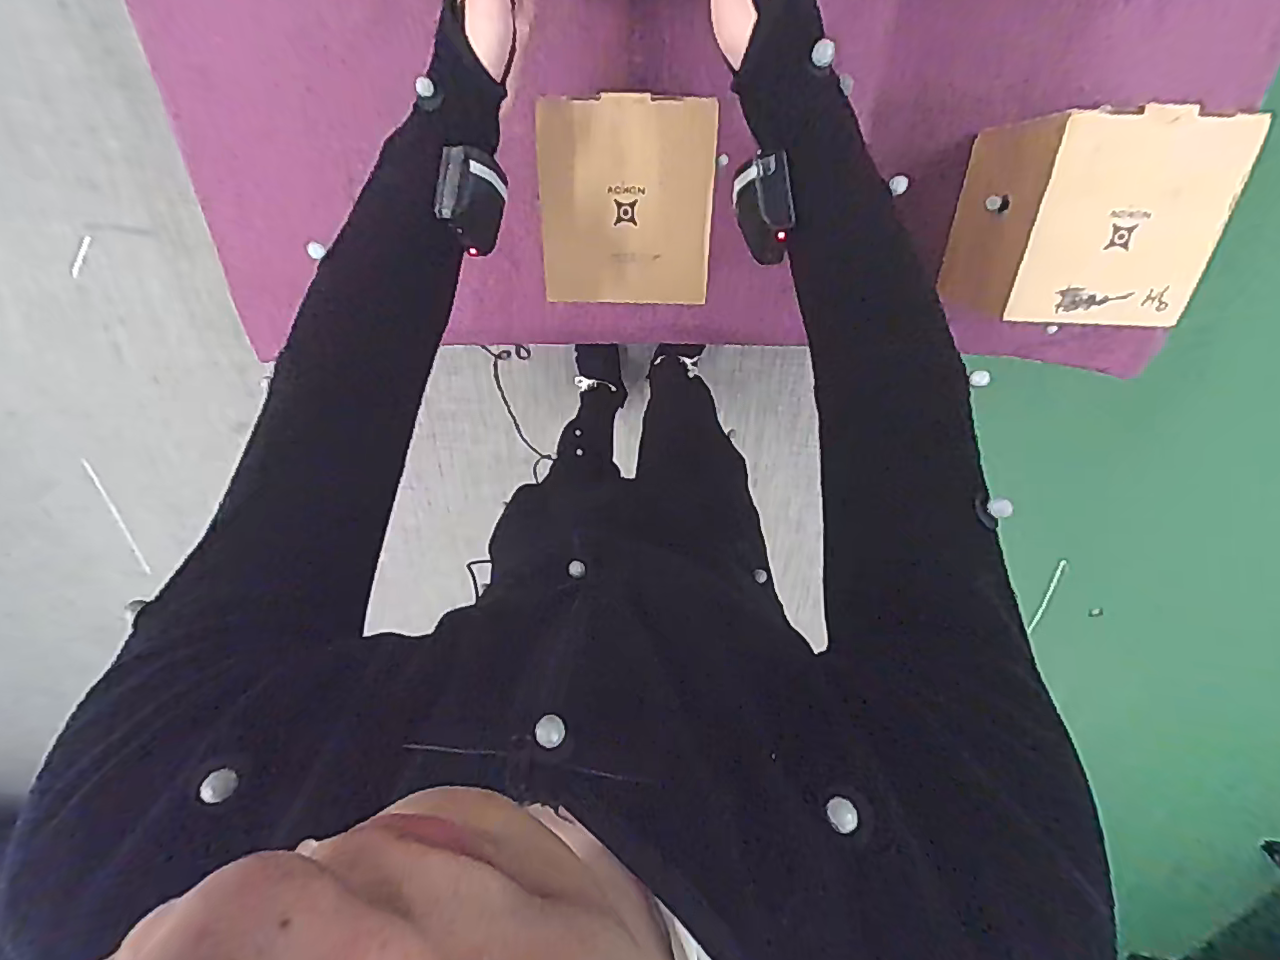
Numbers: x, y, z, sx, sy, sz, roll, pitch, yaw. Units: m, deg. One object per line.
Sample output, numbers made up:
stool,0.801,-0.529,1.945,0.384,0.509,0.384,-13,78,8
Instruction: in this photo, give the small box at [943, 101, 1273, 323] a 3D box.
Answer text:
small box,0.447,-0.270,0.560,0.168,0.176,0.179,4,117,3
